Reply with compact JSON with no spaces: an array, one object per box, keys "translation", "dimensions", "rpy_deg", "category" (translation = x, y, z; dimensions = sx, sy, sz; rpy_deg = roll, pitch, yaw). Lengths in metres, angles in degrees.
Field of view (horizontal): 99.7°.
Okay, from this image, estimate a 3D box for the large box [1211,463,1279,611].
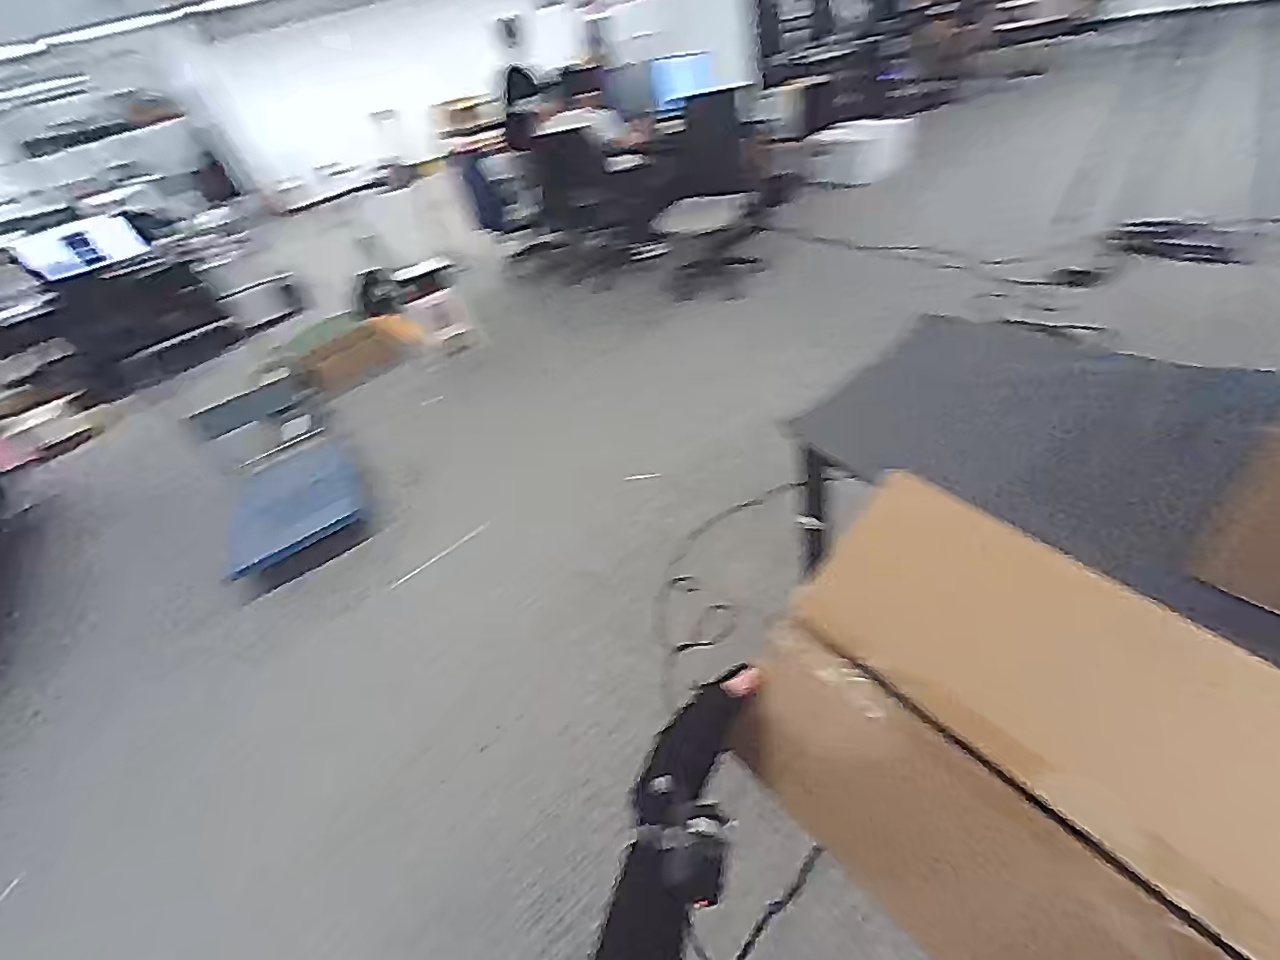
[{"translation":[1.037,-0.006,0.666],"dimensions":[0.408,0.320,0.320],"rpy_deg":[-33,43,-21],"category":"large box"}]
